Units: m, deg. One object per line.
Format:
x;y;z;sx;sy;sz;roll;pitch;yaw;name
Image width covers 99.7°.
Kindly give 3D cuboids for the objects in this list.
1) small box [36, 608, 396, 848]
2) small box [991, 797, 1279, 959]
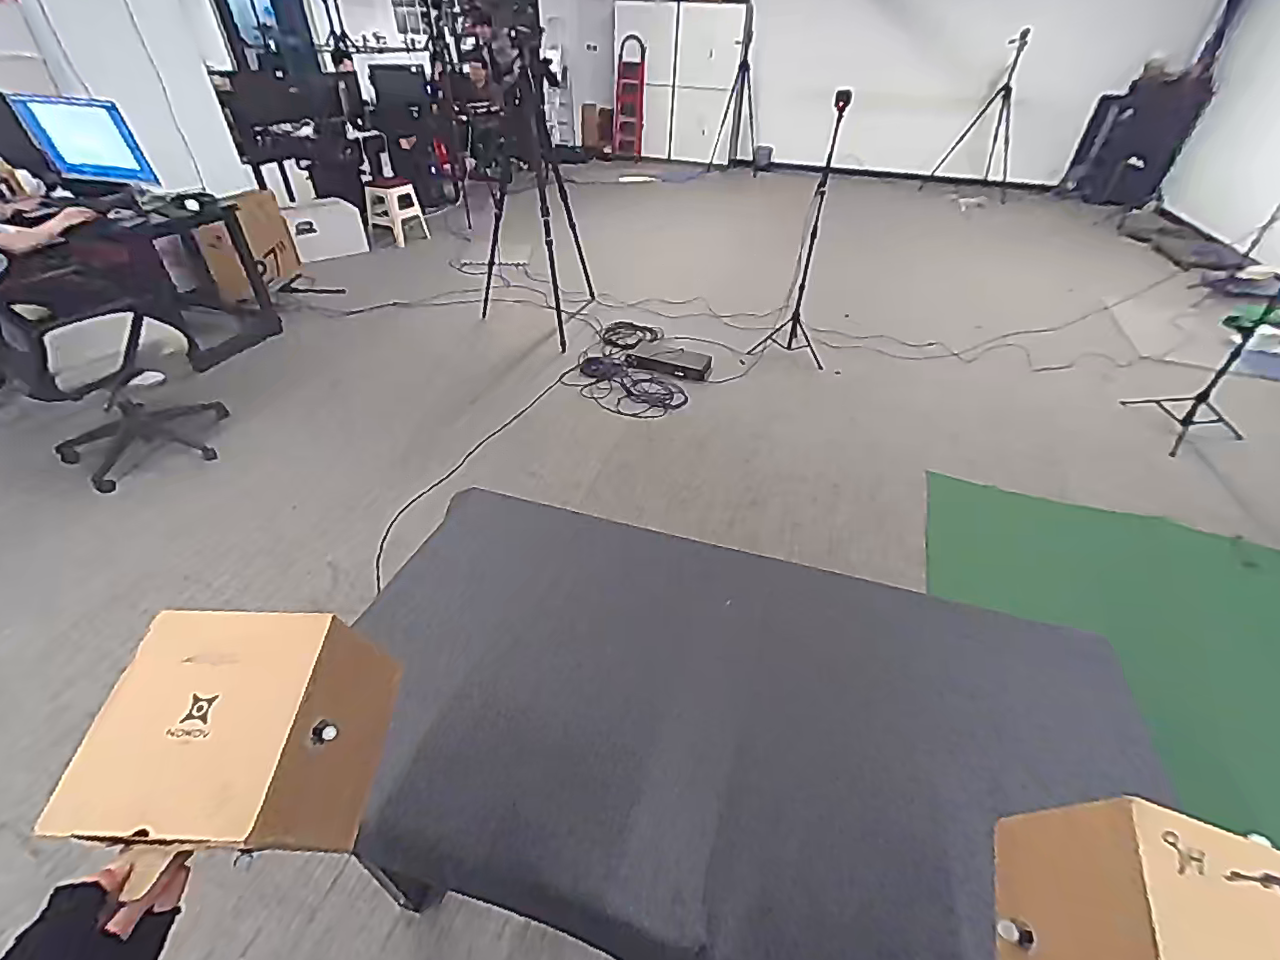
-0.353;0.233;0.501;0.168;0.176;0.179;0;54;1;small box
0.373;0.353;0.374;0.168;0.176;0.179;19;55;10;small box
